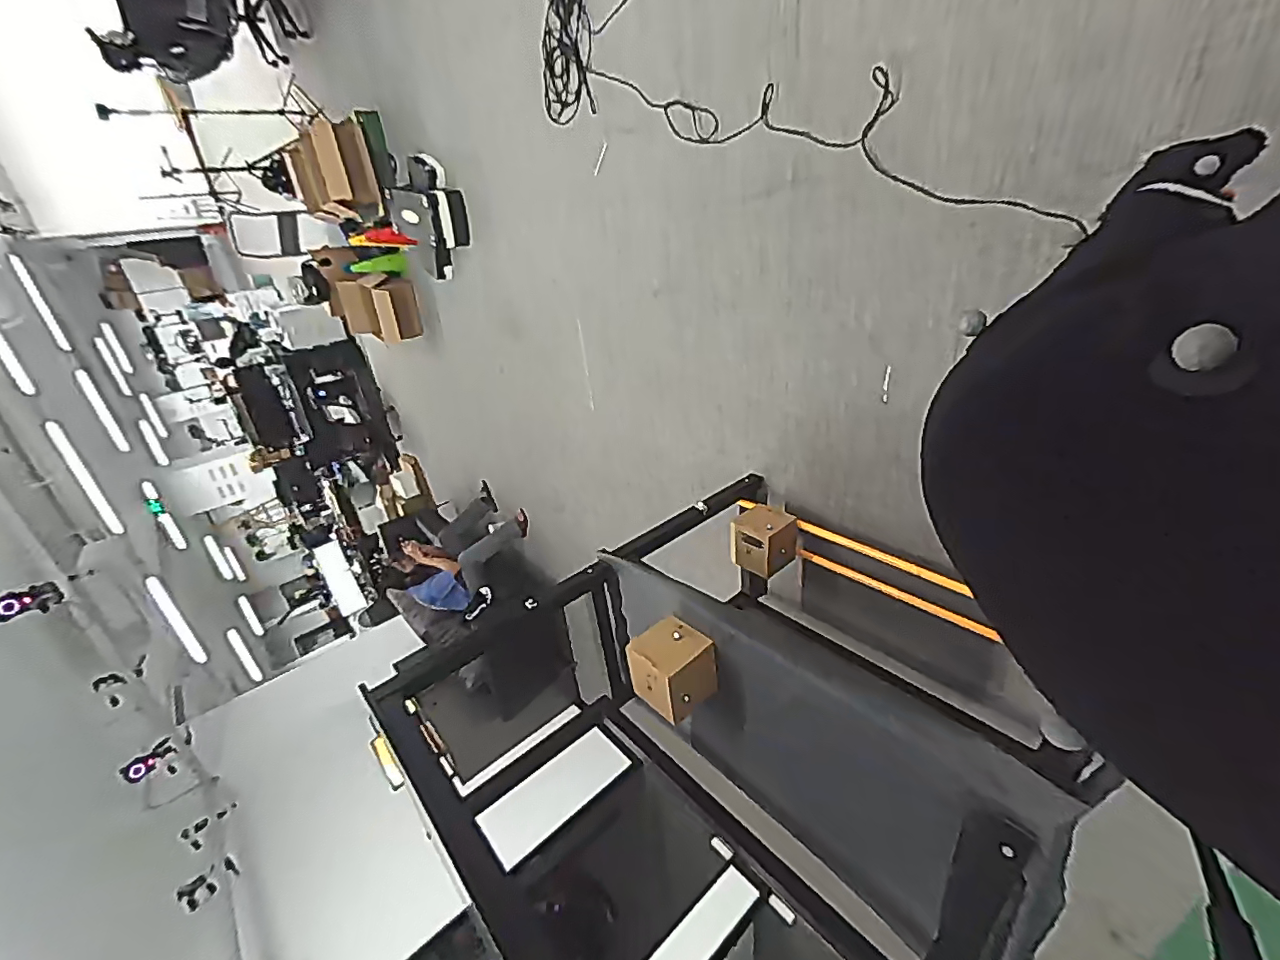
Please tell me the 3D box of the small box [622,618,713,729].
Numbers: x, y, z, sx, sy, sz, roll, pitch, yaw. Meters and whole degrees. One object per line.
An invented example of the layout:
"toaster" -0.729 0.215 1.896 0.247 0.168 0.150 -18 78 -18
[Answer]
"small box" 0.078 0.504 1.427 0.168 0.176 0.179 21 128 45
